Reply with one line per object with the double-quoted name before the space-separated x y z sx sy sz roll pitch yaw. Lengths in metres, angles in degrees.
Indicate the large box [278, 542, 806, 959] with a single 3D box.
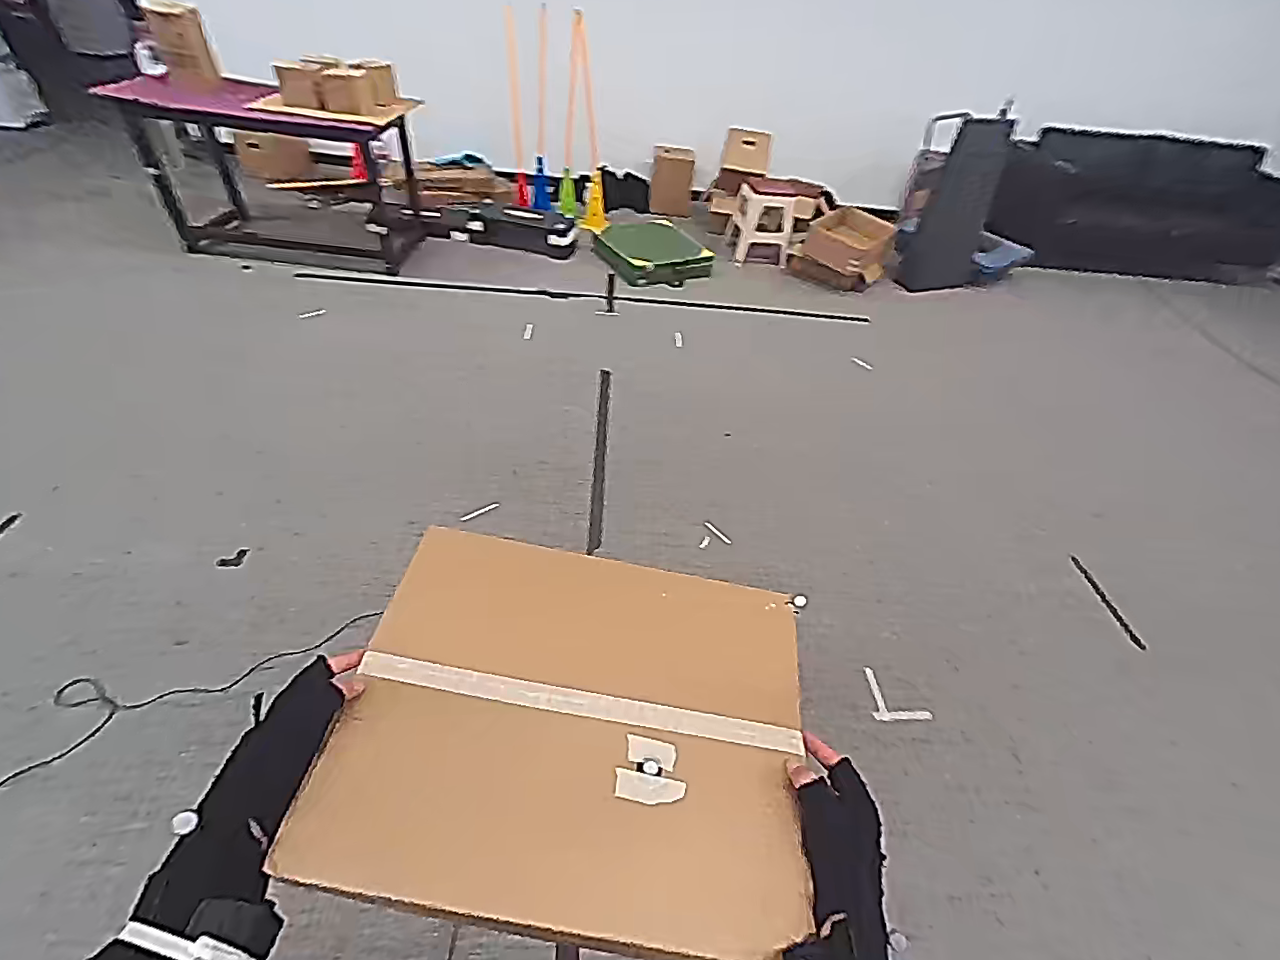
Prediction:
"large box" -0.076 0.310 0.605 0.408 0.320 0.320 11 49 -1
